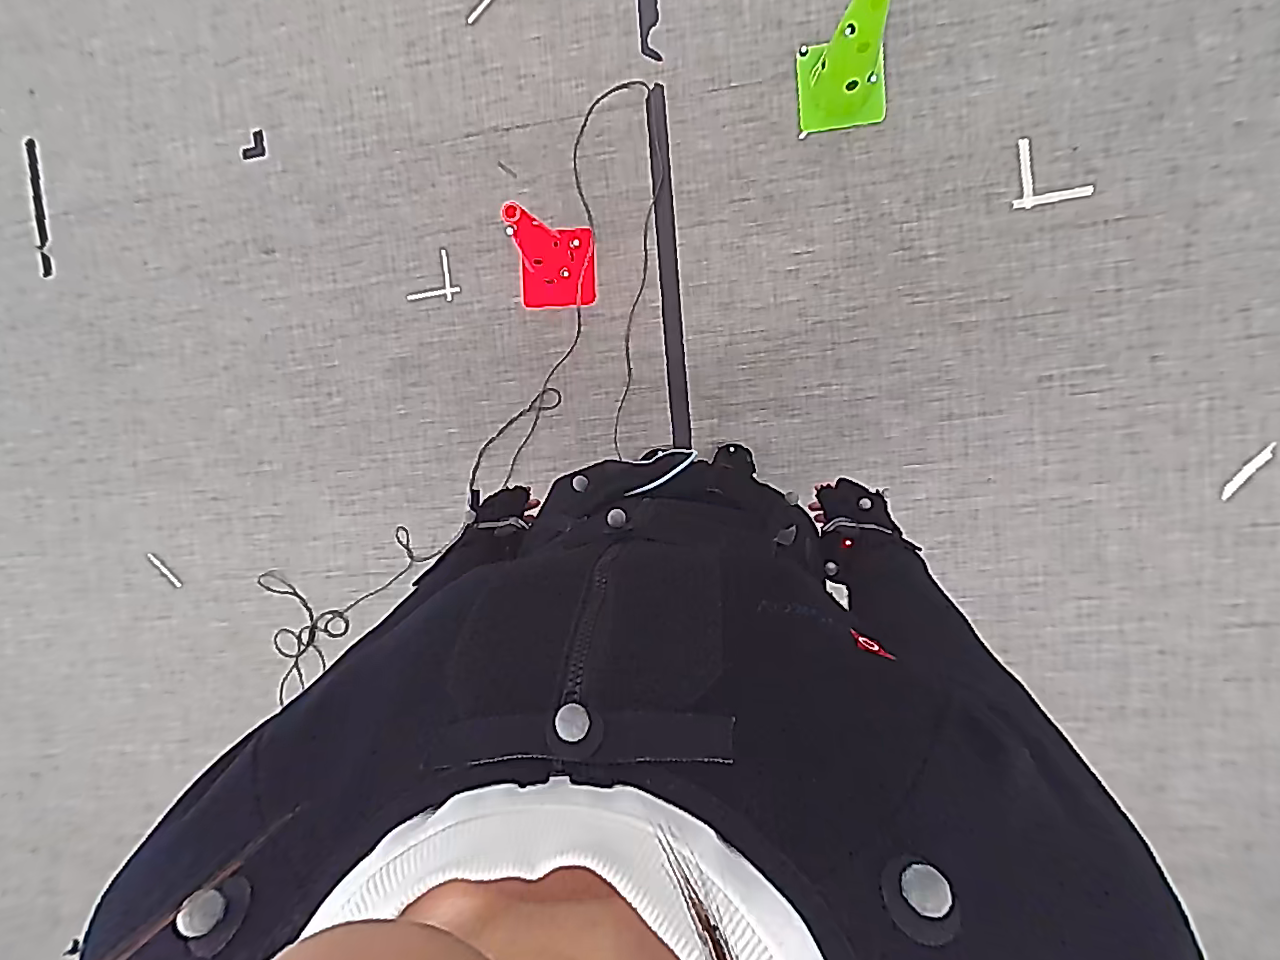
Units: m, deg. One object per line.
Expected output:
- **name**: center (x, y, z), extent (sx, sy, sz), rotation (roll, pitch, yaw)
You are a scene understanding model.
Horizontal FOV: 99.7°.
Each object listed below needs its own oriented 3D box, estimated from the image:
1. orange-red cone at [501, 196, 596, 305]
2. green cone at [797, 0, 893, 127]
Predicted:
- **orange-red cone**: center (-0.238, -0.552, 1.246), extent (0.199, 0.360, 0.198), rotation (0, 93, 8)
- **green cone**: center (0.465, -0.946, 1.125), extent (0.202, 0.368, 0.200), rotation (-5, 94, 6)
